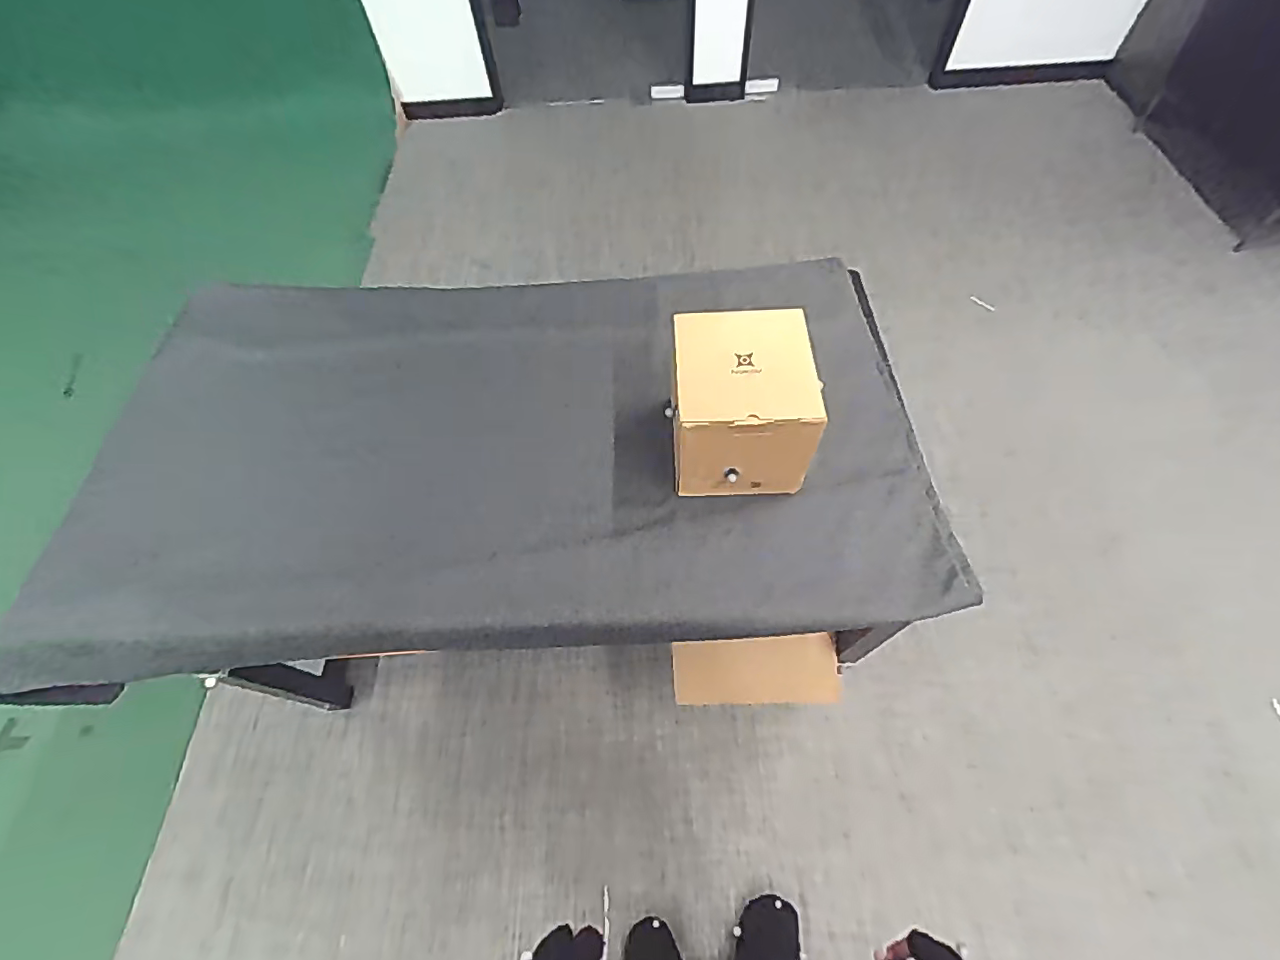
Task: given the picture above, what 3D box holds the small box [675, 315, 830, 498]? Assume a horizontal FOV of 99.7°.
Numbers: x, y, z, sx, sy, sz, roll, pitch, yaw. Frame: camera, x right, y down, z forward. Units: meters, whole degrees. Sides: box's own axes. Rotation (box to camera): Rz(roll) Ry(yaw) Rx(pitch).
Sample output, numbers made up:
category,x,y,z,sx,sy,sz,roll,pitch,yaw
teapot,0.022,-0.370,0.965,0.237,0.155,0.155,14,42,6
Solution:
category,x,y,z,sx,sy,sz,roll,pitch,yaw
small box,0.132,-0.092,0.712,0.168,0.176,0.179,-2,60,2
